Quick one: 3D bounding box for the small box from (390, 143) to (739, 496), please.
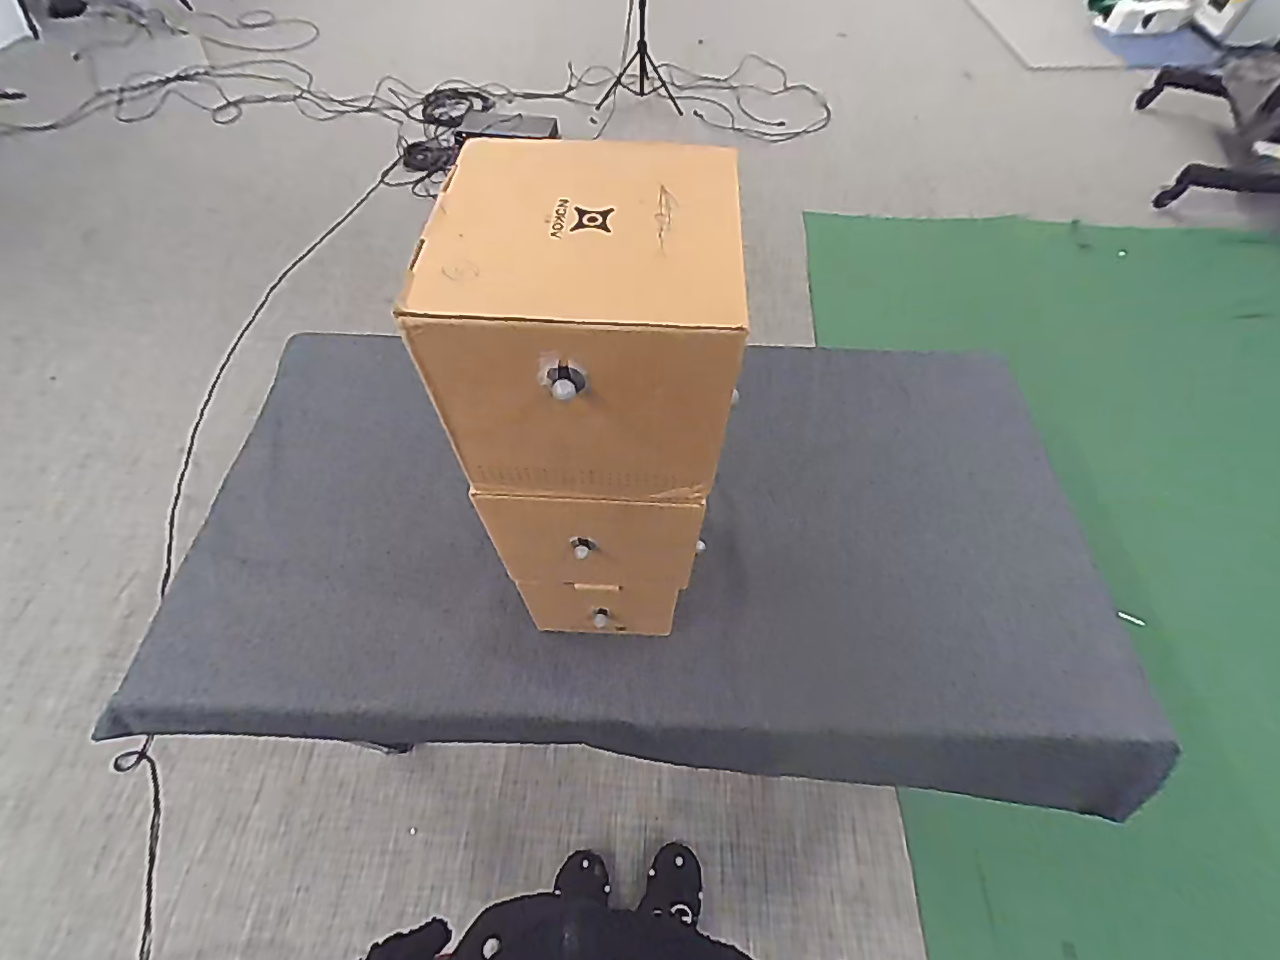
[{"bbox_3d":[-0.034,-0.100,0.372,0.179,0.176,0.168,3,59,1],"label":"small box"}]

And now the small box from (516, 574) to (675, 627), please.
[{"bbox_3d":[-0.040,0.070,0.651,0.168,0.176,0.179,2,59,1],"label":"small box"}]

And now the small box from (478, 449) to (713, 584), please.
[{"bbox_3d":[-0.034,-0.009,0.506,0.179,0.176,0.168,0,58,-1],"label":"small box"}]
